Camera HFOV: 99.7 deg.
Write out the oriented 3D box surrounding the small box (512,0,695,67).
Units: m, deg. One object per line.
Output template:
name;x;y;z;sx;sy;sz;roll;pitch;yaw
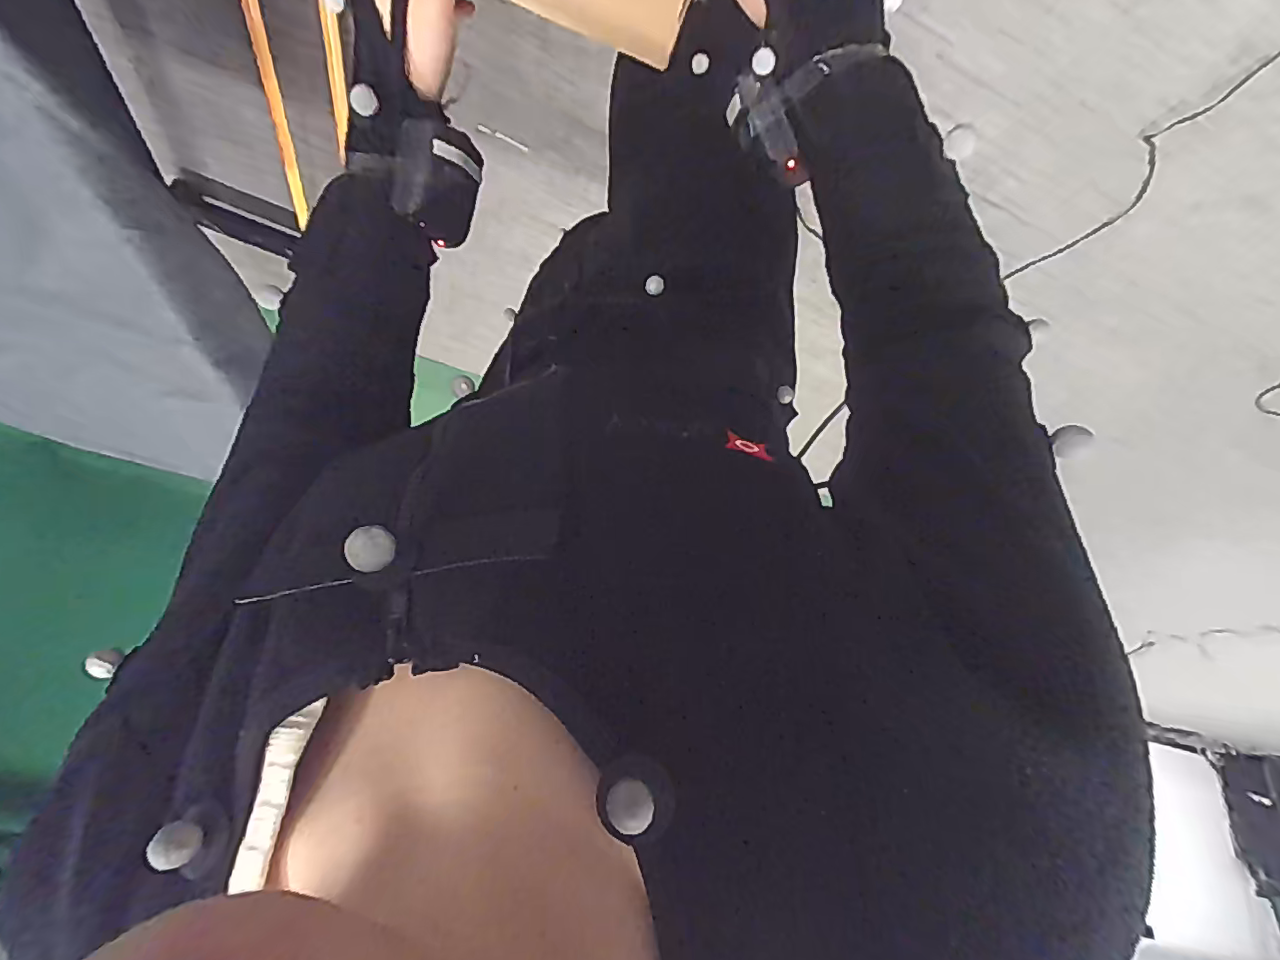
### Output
small box;-0.023;-0.404;0.314;0.179;0.176;0.168;17;154;-11
